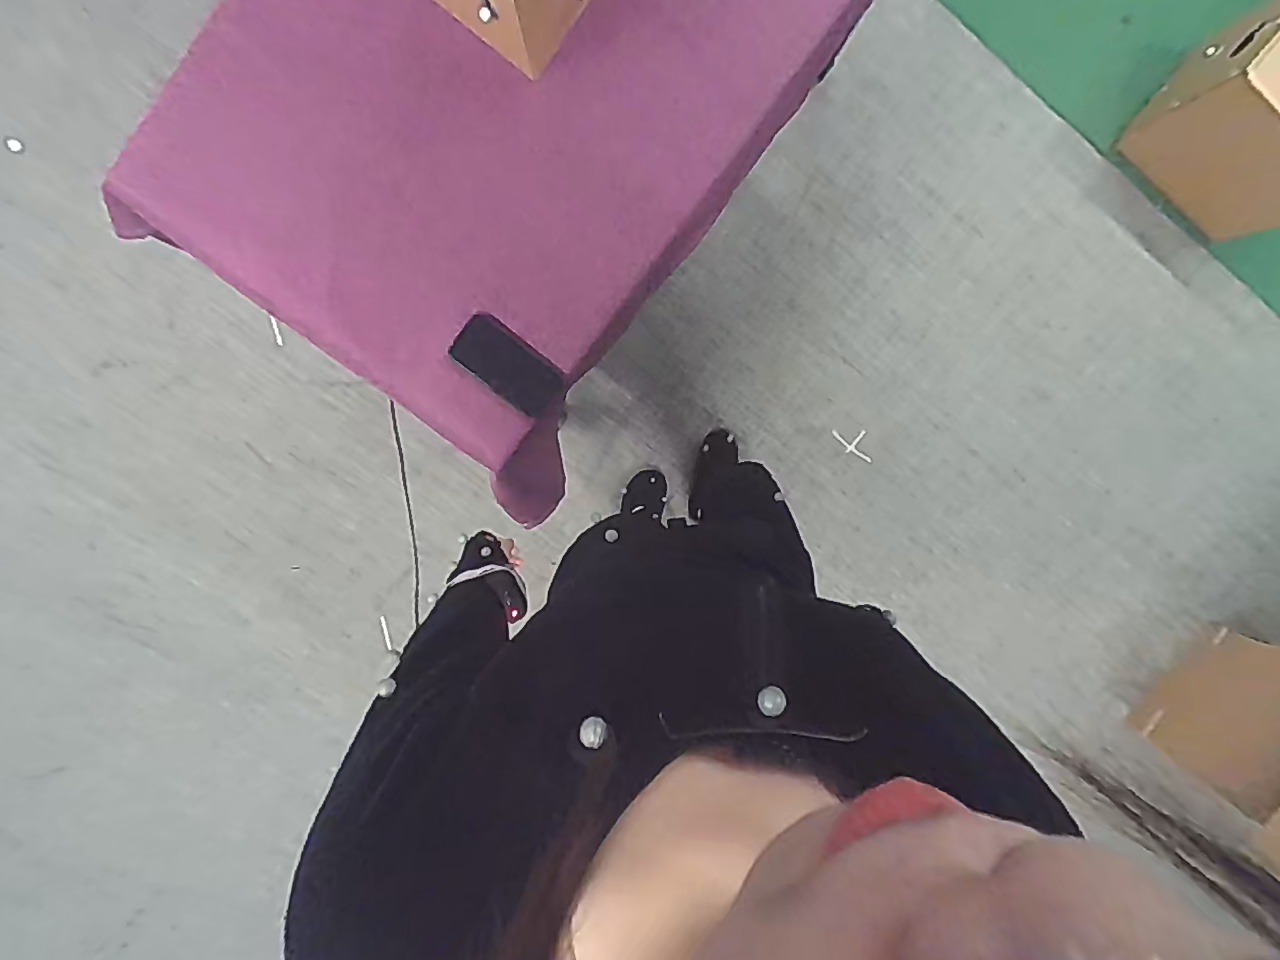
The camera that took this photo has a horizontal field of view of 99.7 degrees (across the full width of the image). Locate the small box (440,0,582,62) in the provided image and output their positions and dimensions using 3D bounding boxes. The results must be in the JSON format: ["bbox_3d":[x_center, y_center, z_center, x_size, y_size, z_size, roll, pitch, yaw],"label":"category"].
[{"bbox_3d":[-0.150,-0.610,0.586,0.179,0.176,0.168,36,94,-6],"label":"small box"}]
